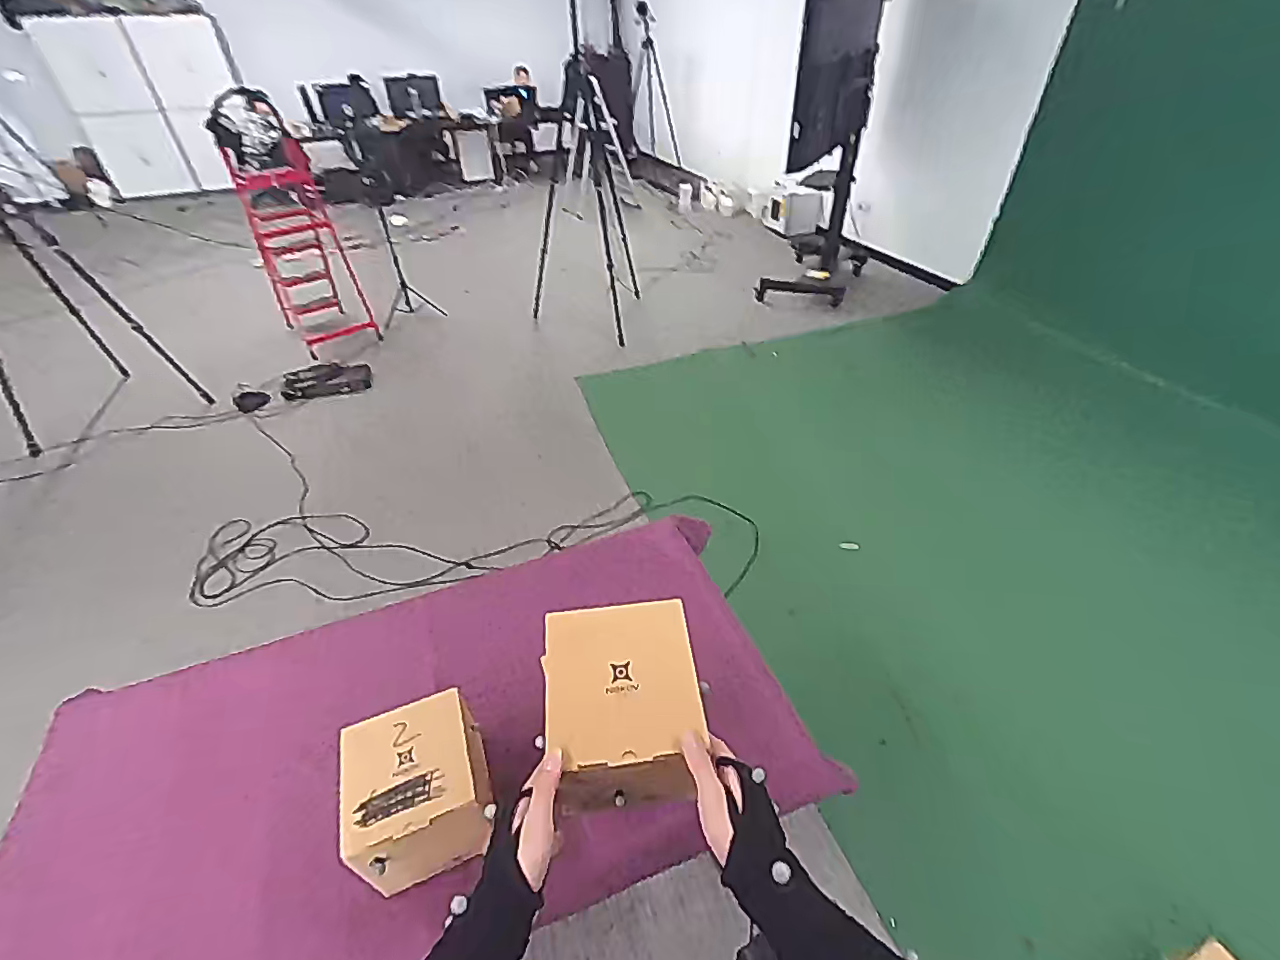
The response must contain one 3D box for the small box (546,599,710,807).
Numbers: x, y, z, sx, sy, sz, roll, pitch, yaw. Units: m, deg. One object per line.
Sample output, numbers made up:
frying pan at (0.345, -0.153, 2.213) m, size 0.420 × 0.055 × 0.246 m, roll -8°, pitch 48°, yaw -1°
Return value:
small box at (-0.022, 0.265, 0.646) m, size 0.168 × 0.176 × 0.179 m, roll -4°, pitch 48°, yaw -5°
